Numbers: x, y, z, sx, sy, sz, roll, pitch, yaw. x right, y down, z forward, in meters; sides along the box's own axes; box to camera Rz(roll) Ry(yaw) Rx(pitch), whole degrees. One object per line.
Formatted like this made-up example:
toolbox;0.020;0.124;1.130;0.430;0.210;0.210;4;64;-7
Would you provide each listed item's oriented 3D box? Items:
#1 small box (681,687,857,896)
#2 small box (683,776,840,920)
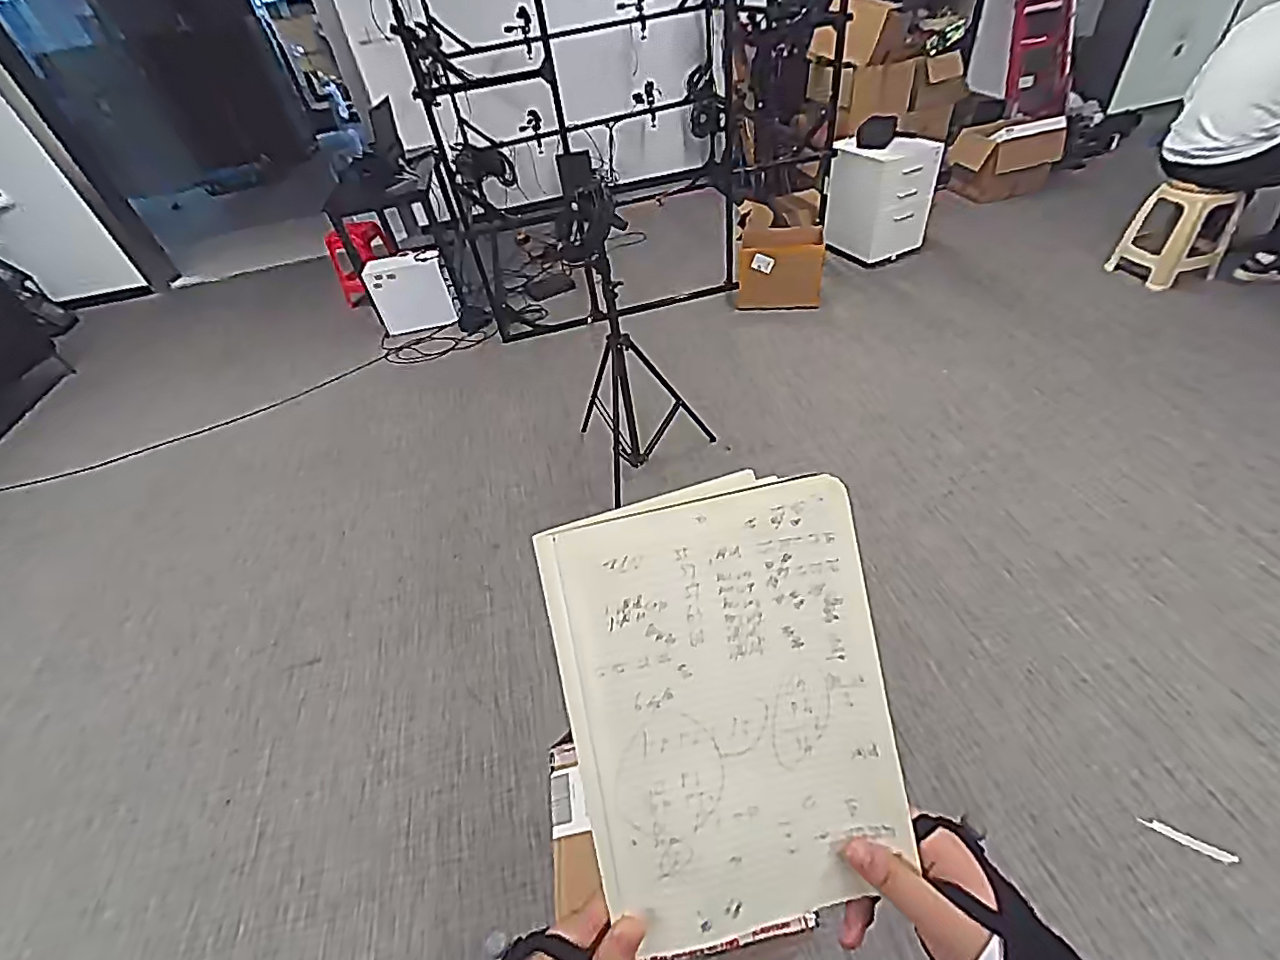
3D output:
small box;0.153;0.409;0.714;0.168;0.176;0.179;-12;44;-6
small box;0.172;0.532;0.821;0.179;0.176;0.168;-15;44;-7
